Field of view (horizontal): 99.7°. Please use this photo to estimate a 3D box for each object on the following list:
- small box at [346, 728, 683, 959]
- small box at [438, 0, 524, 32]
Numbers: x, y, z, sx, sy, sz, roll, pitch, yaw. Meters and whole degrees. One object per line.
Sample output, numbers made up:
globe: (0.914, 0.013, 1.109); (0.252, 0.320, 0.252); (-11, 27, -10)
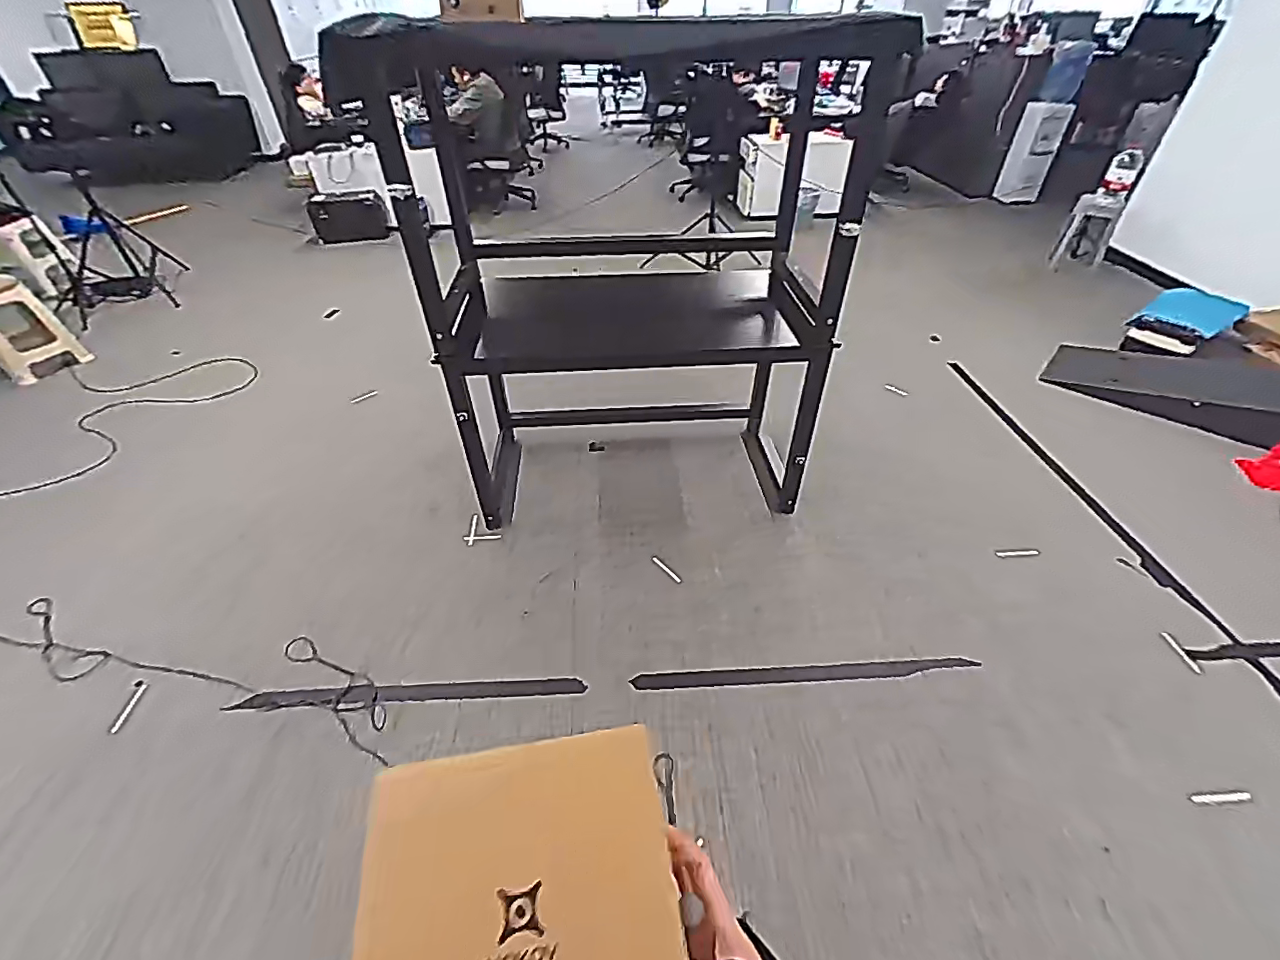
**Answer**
small box: (-0.067, 0.284, 0.335); (0.168, 0.176, 0.179); (-8, 49, -9)
small box: (-0.337, -1.051, 1.131); (0.168, 0.176, 0.179); (-4, 39, -6)
